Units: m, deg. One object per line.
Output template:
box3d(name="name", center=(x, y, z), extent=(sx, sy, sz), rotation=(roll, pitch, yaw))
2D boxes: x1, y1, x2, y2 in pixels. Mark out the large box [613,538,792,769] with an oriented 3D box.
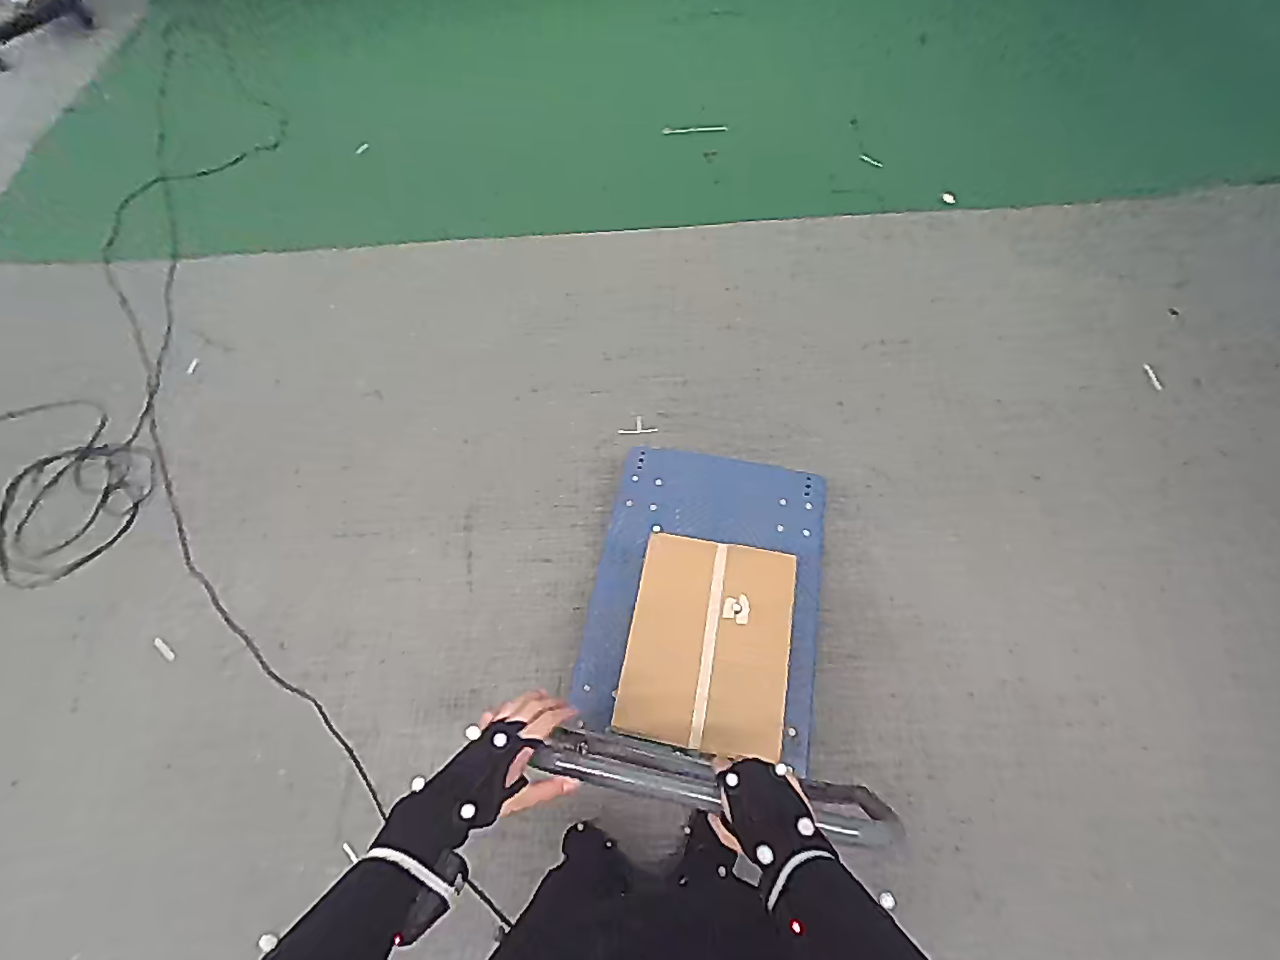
box3d(name="large box", center=(0.142, 0.390, 1.196), extent=(0.320, 0.320, 0.408), rotation=(9, 63, 7))
